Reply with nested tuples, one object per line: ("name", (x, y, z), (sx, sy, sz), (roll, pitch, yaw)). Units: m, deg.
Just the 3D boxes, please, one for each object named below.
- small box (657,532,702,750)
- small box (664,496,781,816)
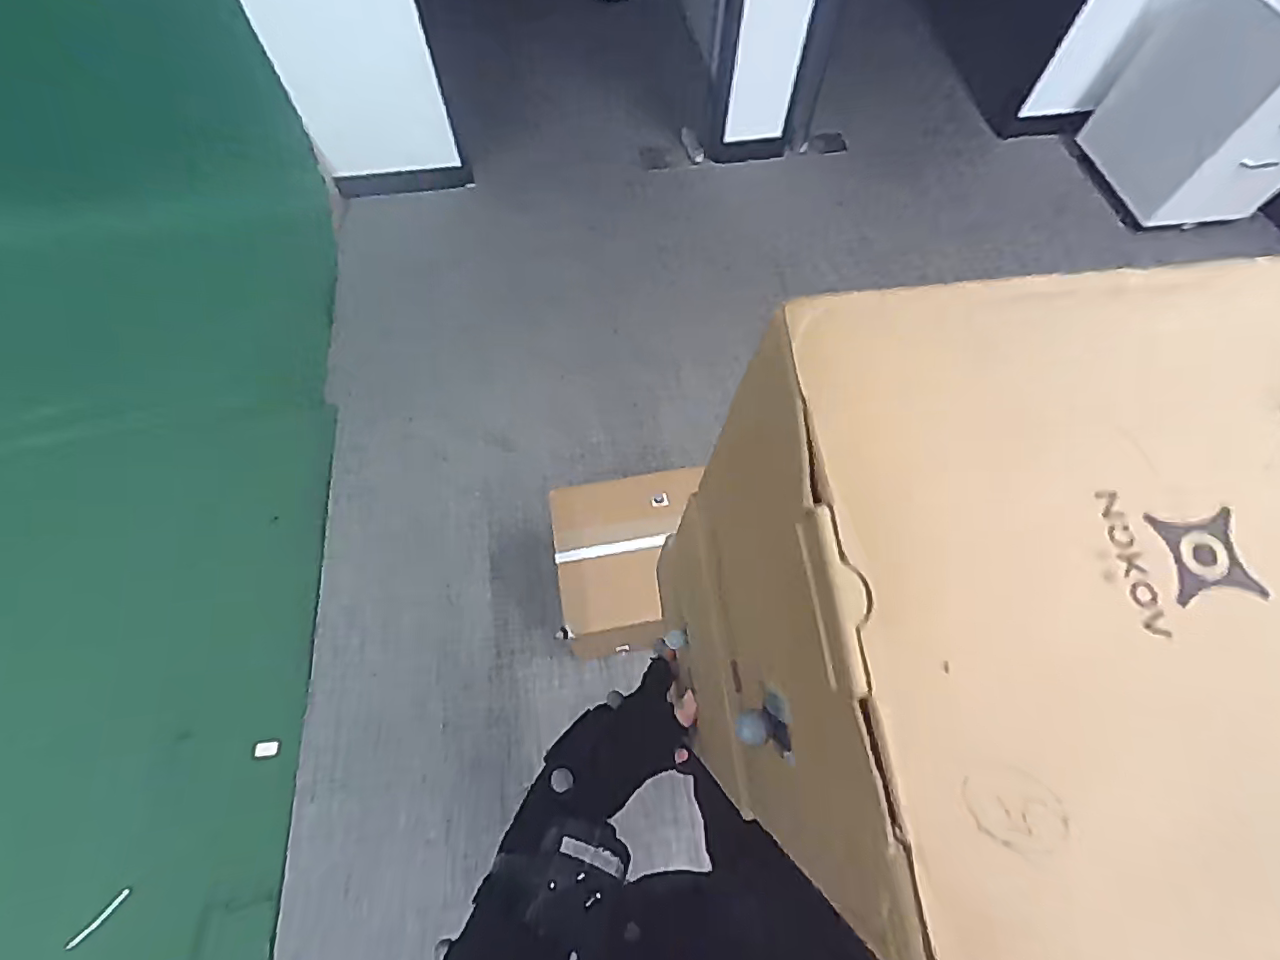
("small box", (0.110, 0.144, 0.527), (0.168, 0.176, 0.179), (-7, 73, -4))
("small box", (0.121, 0.099, 0.369), (0.179, 0.176, 0.168), (-9, 72, -5))
